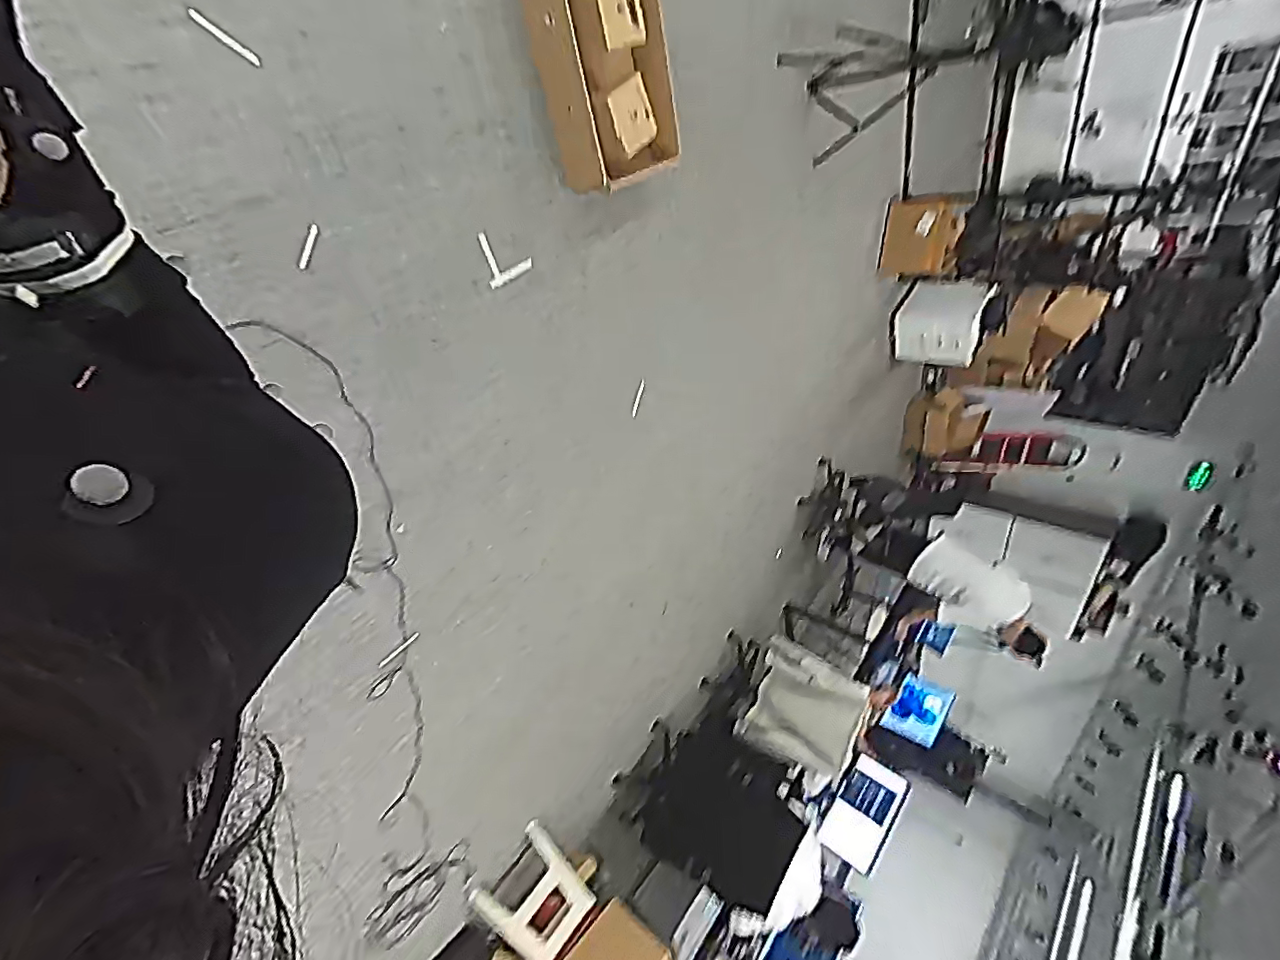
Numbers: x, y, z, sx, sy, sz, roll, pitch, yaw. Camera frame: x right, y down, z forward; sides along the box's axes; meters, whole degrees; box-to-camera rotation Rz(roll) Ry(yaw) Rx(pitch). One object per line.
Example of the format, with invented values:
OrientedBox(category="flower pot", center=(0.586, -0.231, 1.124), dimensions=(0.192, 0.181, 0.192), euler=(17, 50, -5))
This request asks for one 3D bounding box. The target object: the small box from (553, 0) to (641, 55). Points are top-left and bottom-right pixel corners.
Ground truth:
OrientedBox(category="small box", center=(-0.127, -1.363, 1.568), dimensions=(0.179, 0.176, 0.168), euler=(-43, 136, -31))
